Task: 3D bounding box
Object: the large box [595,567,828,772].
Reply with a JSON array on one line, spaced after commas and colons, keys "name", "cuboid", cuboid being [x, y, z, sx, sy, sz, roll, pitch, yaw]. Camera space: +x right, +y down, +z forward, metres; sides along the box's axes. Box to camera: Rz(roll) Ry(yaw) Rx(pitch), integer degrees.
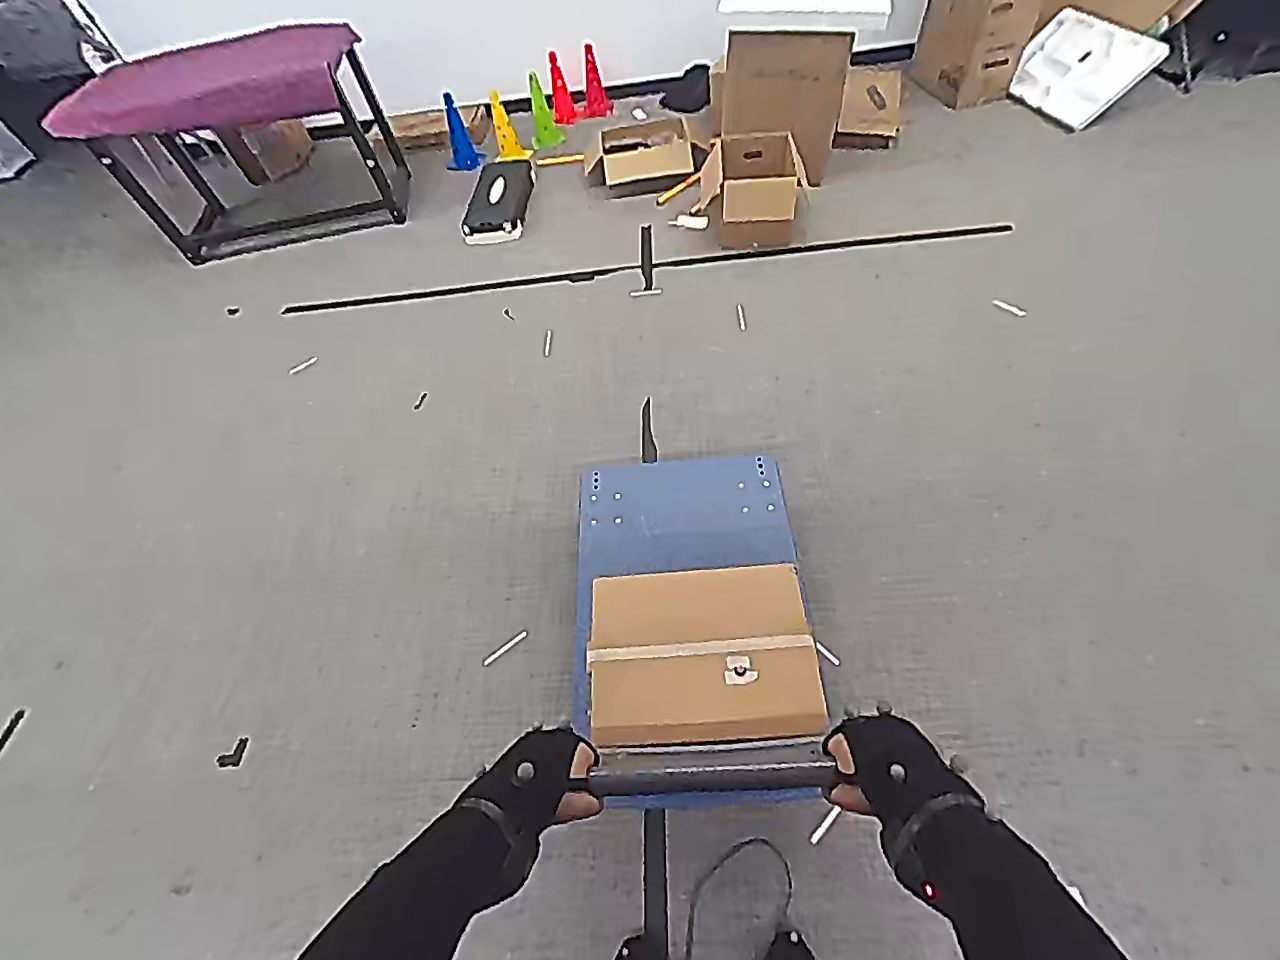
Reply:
[{"name": "large box", "cuboid": [0.127, 0.403, 1.127, 0.408, 0.320, 0.320, -5, 56, 3]}]
